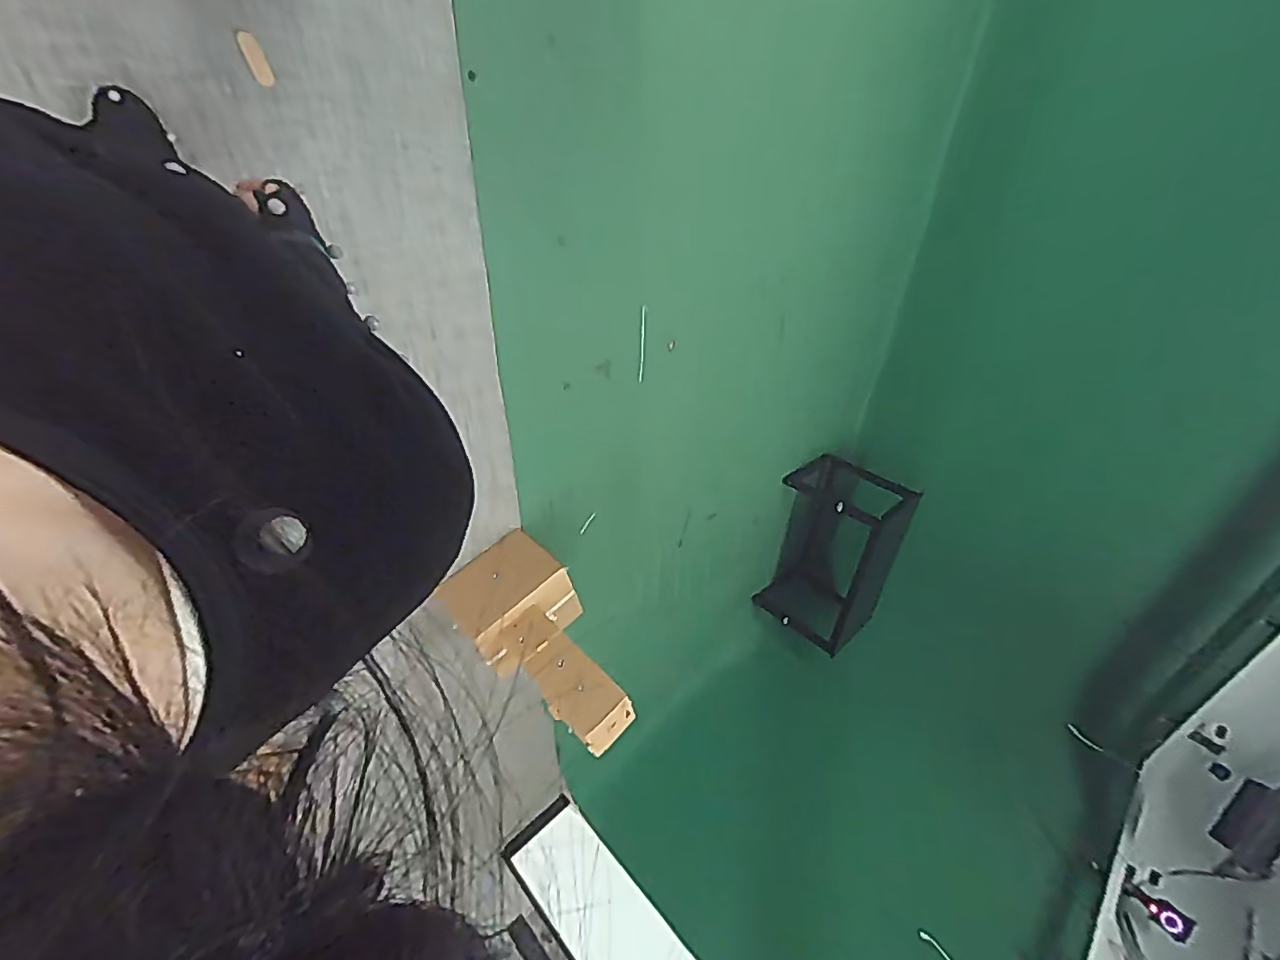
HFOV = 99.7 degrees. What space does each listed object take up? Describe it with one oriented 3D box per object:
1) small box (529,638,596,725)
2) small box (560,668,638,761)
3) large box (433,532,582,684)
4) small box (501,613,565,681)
[{"bbox_3d":[-0.250,0.667,1.803,0.179,0.176,0.168,-39,139,-25],"label":"small box"},{"bbox_3d":[-0.134,0.736,1.708,0.179,0.176,0.168,-37,139,-25],"label":"small box"},{"bbox_3d":[-0.497,0.479,2.070,0.408,0.320,0.320,-40,141,-26],"label":"large box"},{"bbox_3d":[-0.360,0.595,1.899,0.168,0.176,0.179,-38,139,-26],"label":"small box"}]
